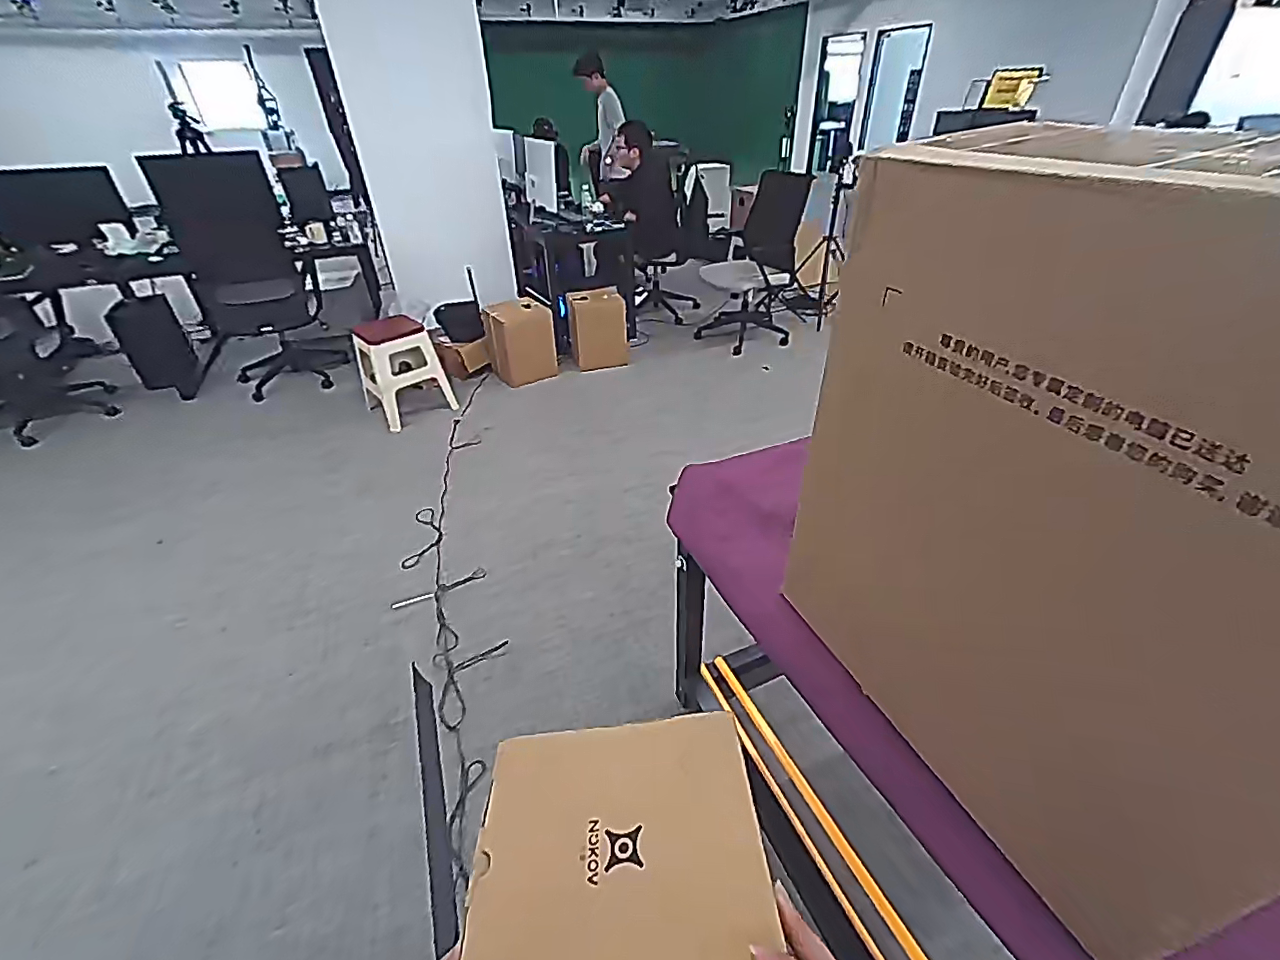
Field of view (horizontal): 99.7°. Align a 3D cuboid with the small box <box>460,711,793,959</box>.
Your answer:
[{"bbox_3d":[-0.003,0.288,0.365,0.179,0.176,0.168,-8,31,1],"label":"small box"}]
